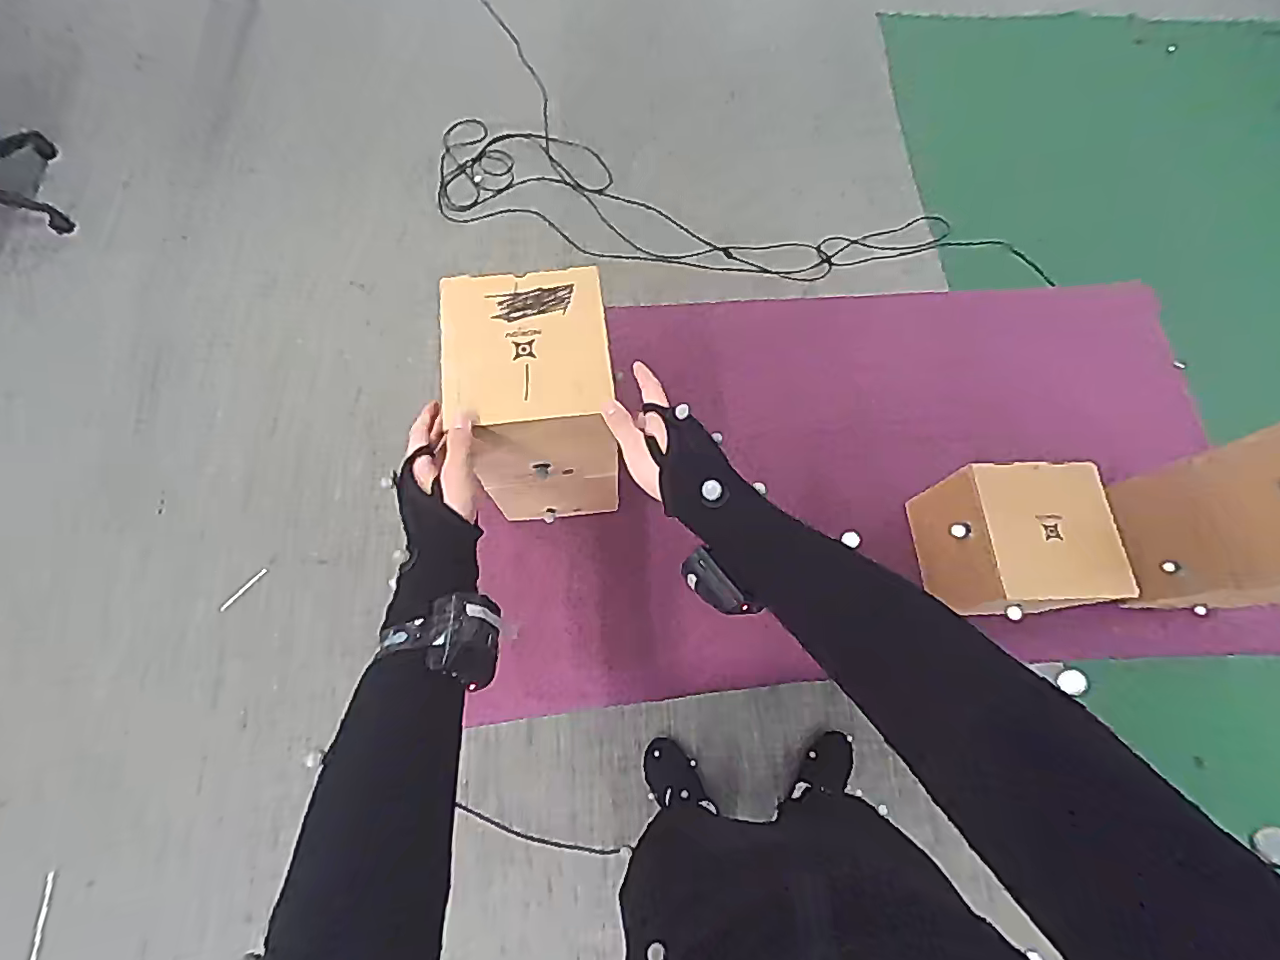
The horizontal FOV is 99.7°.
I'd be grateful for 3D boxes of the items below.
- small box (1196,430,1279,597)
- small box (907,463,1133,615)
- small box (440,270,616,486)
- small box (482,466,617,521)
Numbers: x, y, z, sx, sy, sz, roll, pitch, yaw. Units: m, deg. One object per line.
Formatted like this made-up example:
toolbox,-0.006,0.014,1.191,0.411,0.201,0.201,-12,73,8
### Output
small box,0.785,0.028,0.592,0.168,0.176,0.179,1,69,-1
small box,0.497,0.089,0.738,0.168,0.176,0.179,-1,69,-2
small box,-0.117,-0.107,0.612,0.168,0.176,0.179,-6,72,-3
small box,-0.123,-0.052,0.766,0.168,0.176,0.179,-6,72,-4
